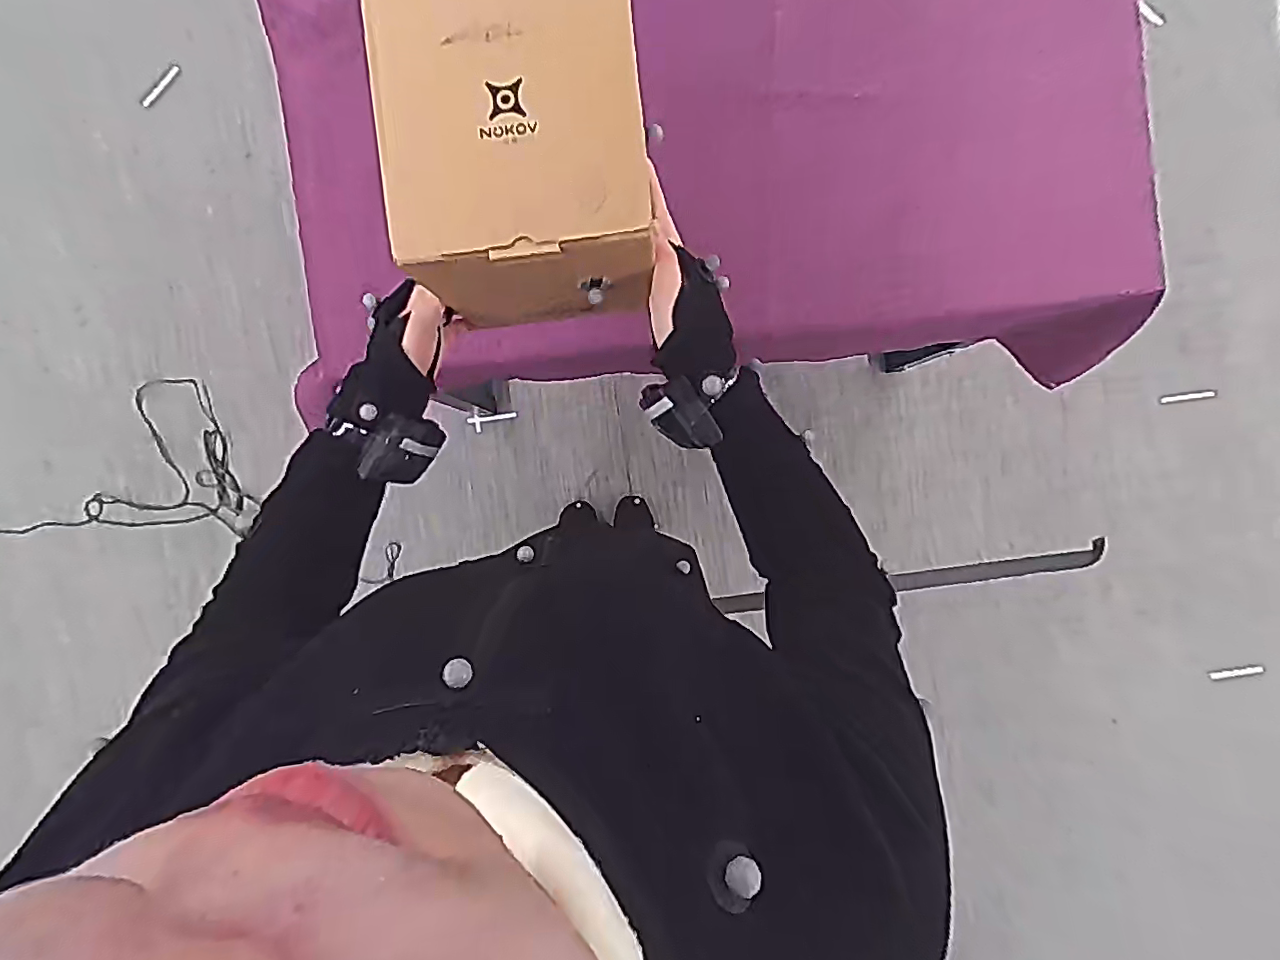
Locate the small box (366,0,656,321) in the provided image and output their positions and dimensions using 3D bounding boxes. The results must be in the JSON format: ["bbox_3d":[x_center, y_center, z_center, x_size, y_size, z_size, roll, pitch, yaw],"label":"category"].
[{"bbox_3d":[-0.076,-0.227,0.409,0.168,0.176,0.179,-6,92,1],"label":"small box"}]
